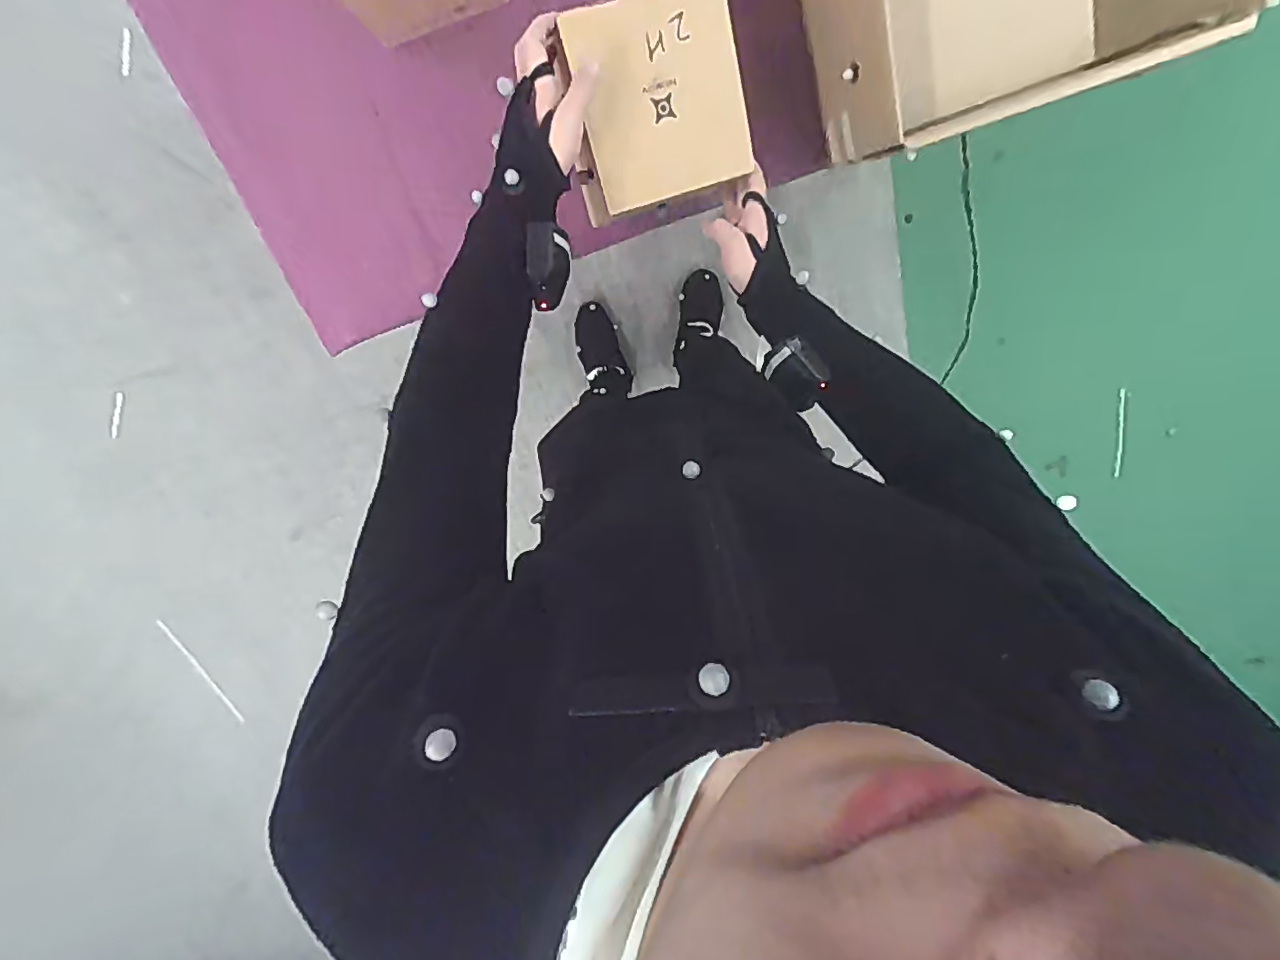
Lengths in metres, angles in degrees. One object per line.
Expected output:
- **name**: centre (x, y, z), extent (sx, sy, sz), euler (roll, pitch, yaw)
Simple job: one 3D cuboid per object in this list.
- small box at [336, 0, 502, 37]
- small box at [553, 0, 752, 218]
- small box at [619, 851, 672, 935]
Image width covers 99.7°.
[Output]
- **small box**: centre (-0.254, -0.597, 0.554), extent (0.168, 0.176, 0.179), euler (-19, 112, 3)
- **small box**: centre (0.007, -0.408, 0.609), extent (0.168, 0.176, 0.179), euler (-19, 113, -4)
- **small box**: centre (0.014, 1.414, 1.855), extent (0.168, 0.176, 0.179), euler (1, 110, -5)
